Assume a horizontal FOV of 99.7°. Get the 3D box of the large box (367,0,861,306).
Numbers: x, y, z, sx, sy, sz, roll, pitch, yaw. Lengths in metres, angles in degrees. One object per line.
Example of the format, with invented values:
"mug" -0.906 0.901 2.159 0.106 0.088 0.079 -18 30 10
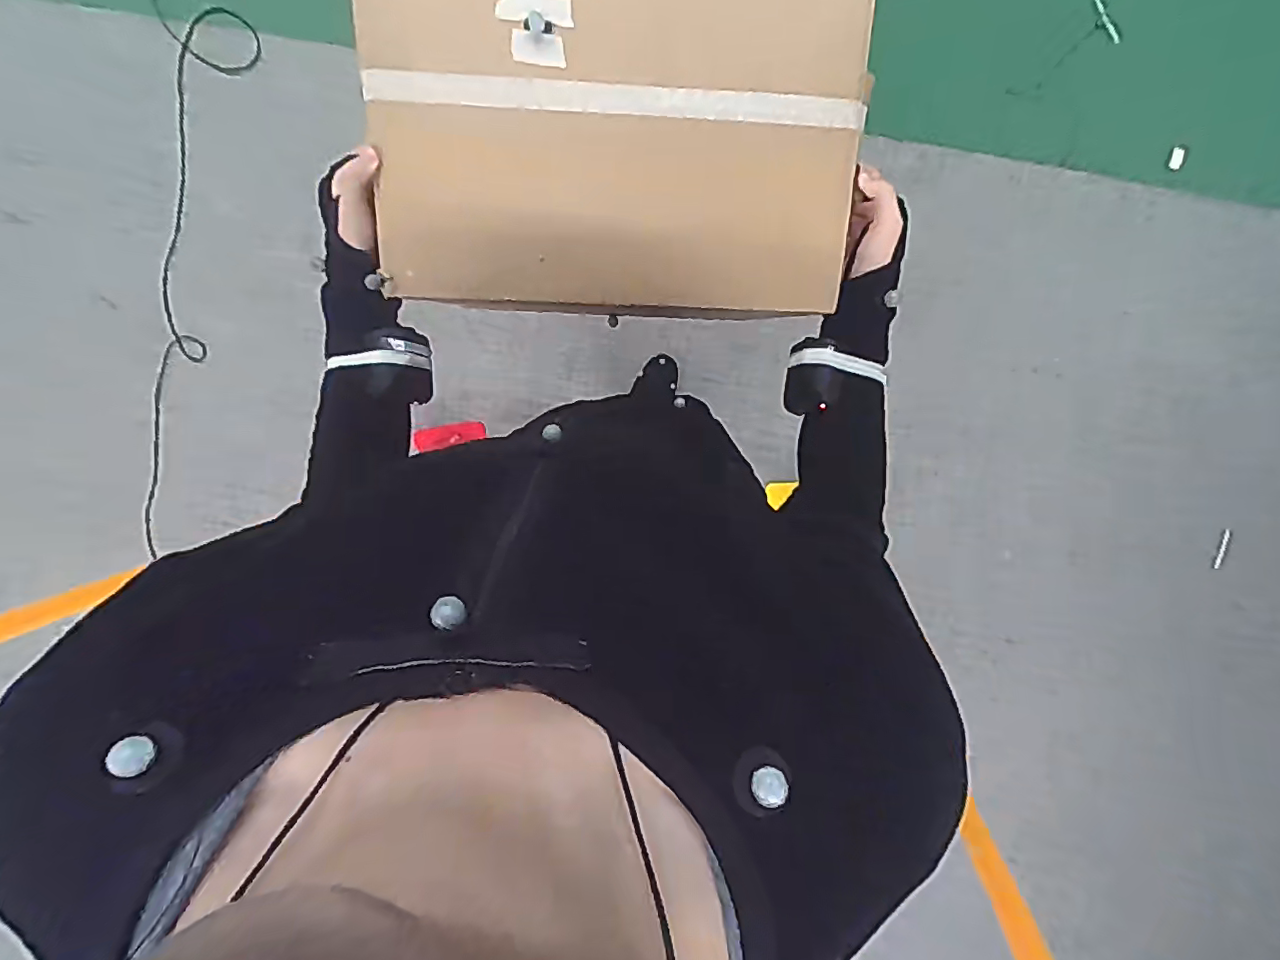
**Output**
"large box" -0.025 -0.356 0.595 0.408 0.320 0.320 0 106 -4
